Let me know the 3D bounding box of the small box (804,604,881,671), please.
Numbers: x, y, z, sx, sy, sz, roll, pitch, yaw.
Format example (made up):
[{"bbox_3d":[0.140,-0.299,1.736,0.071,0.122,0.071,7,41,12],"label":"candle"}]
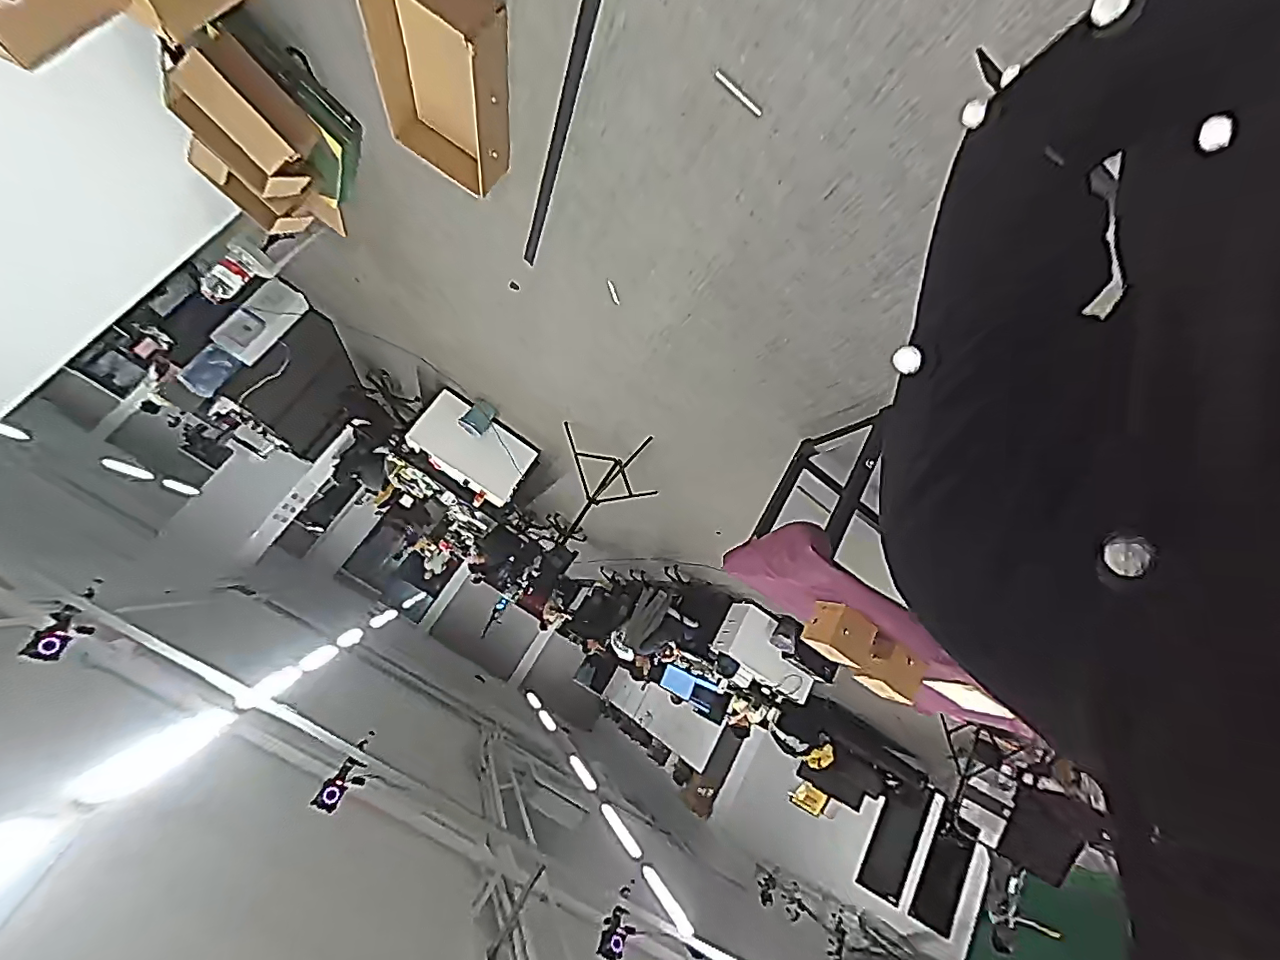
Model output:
[{"bbox_3d":[0.752,0.576,2.006,0.179,0.176,0.168,35,163,-13],"label":"small box"}]

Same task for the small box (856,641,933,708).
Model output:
[{"bbox_3d":[0.965,0.730,2.050,0.179,0.176,0.168,36,161,-9],"label":"small box"}]
